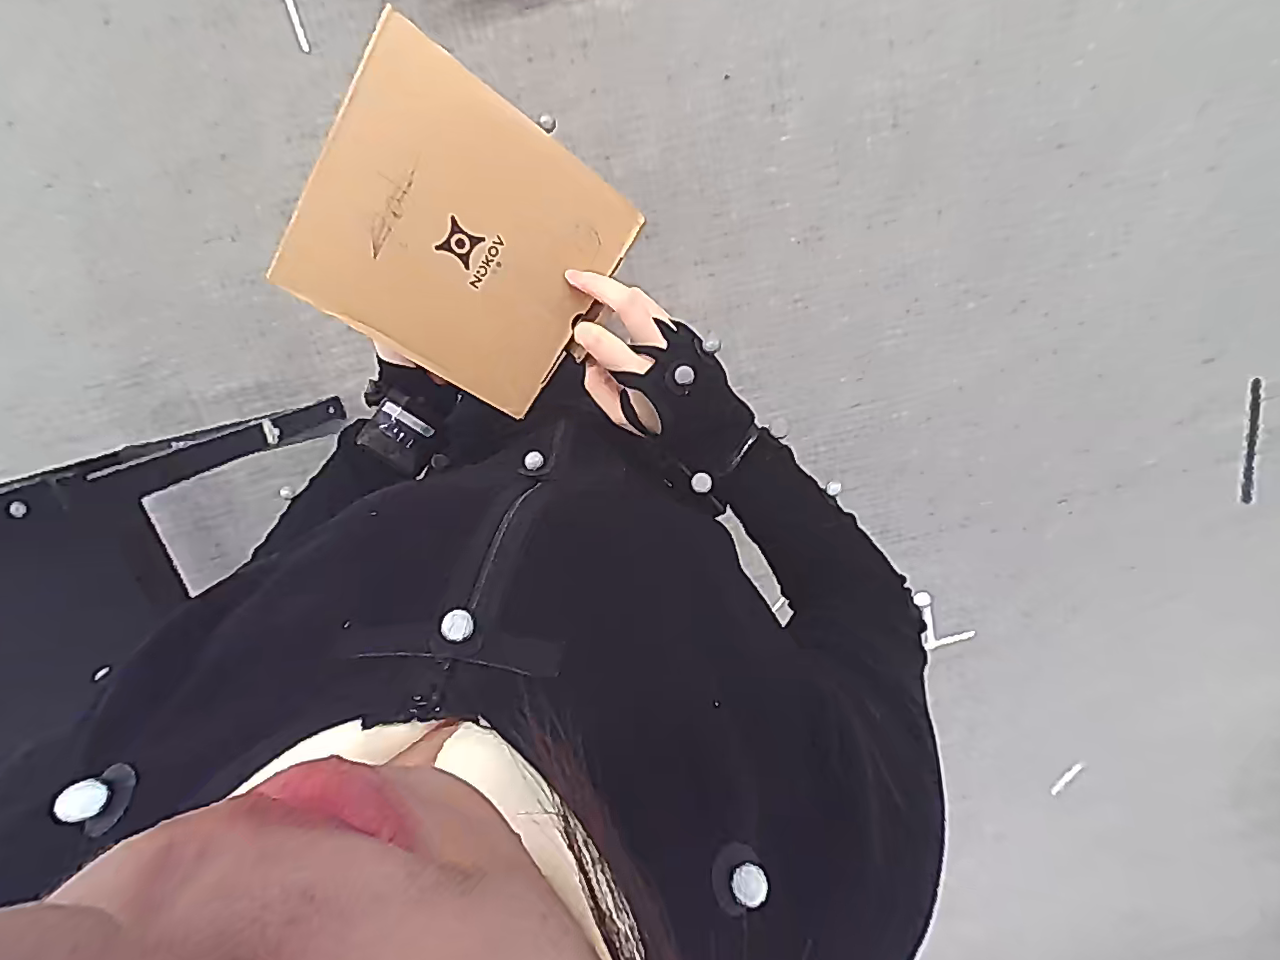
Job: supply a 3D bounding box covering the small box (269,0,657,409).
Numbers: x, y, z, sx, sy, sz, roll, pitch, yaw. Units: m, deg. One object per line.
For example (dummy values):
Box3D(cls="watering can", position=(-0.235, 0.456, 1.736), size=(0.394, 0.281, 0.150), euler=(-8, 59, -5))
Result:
Box3D(cls="small box", position=(-0.117, -0.185, 0.397), size=(0.179, 0.176, 0.168), euler=(30, 106, -24))
